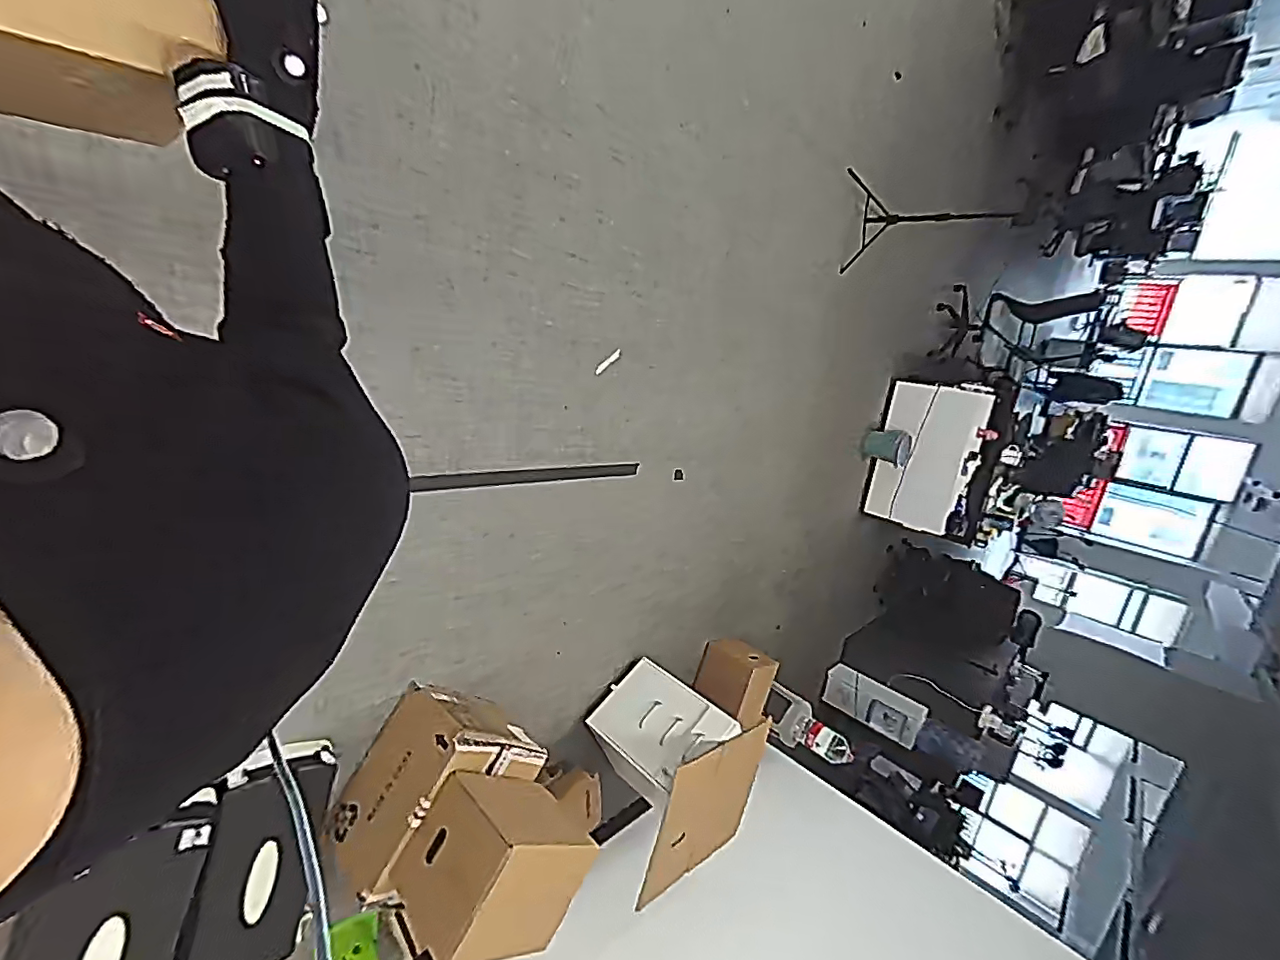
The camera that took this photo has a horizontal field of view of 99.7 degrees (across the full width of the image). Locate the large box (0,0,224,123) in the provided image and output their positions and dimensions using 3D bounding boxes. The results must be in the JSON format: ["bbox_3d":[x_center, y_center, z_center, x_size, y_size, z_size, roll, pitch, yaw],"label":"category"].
[{"bbox_3d":[-0.554,-0.461,0.321,0.408,0.320,0.320,-15,118,-46],"label":"large box"}]
